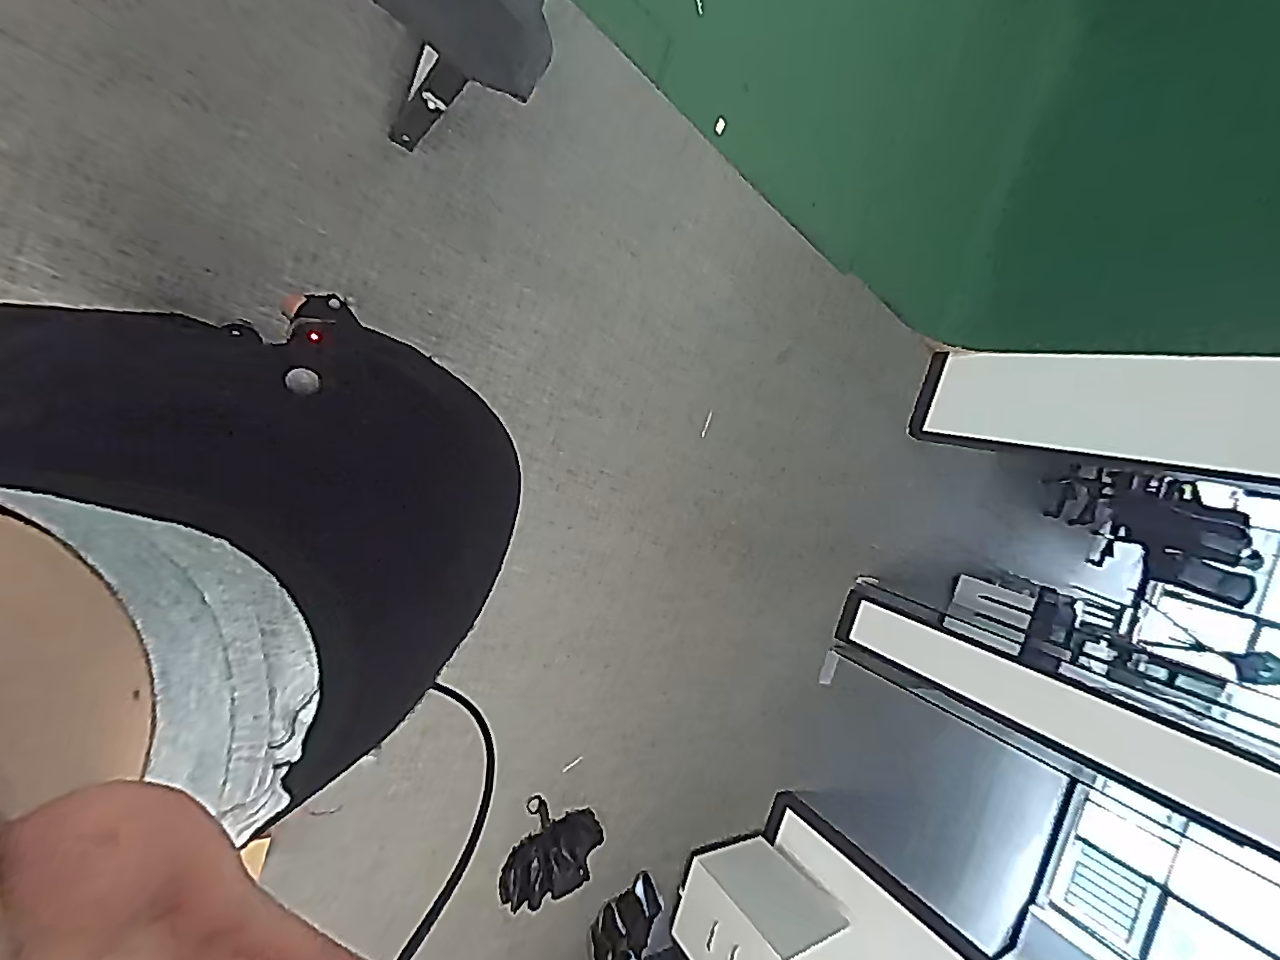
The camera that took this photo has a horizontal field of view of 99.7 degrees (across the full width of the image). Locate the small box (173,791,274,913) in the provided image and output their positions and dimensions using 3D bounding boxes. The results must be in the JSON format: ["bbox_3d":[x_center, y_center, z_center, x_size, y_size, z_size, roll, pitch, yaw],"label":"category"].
[{"bbox_3d":[-1.048,0.929,1.367,0.168,0.176,0.179,16,91,-39],"label":"small box"}]
